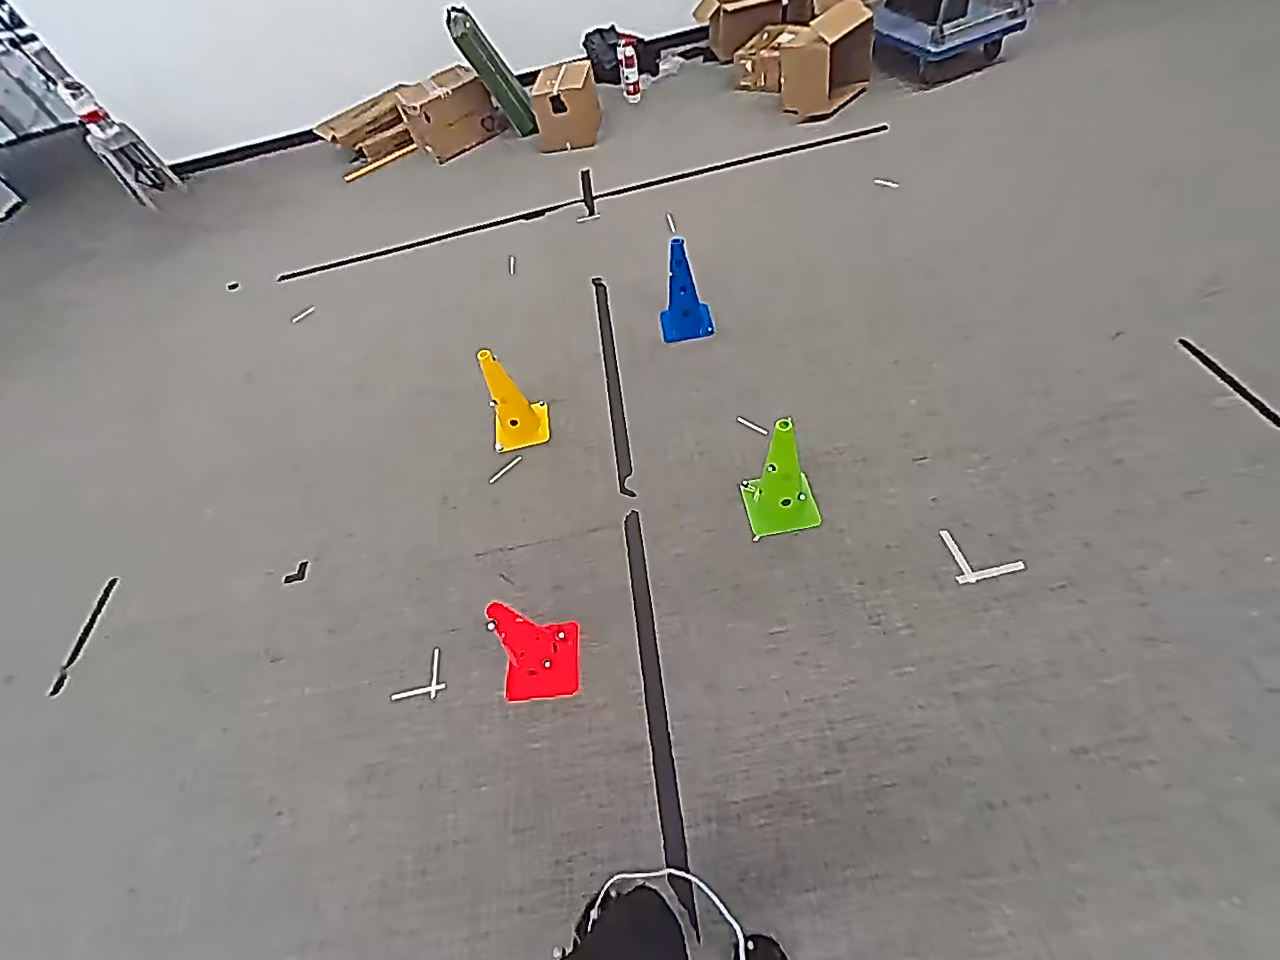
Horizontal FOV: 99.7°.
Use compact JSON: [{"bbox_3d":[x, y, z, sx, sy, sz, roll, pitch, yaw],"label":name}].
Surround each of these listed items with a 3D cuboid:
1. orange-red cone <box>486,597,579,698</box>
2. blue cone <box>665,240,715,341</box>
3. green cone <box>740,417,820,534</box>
[{"bbox_3d":[-0.295,0.381,1.327,0.199,0.360,0.198,-8,52,7],"label":"orange-red cone"},{"bbox_3d":[0.172,-0.726,2.045,0.192,0.380,0.193,-8,54,5],"label":"blue cone"},{"bbox_3d":[0.389,-0.034,1.480,0.202,0.368,0.200,-11,53,3],"label":"green cone"}]
